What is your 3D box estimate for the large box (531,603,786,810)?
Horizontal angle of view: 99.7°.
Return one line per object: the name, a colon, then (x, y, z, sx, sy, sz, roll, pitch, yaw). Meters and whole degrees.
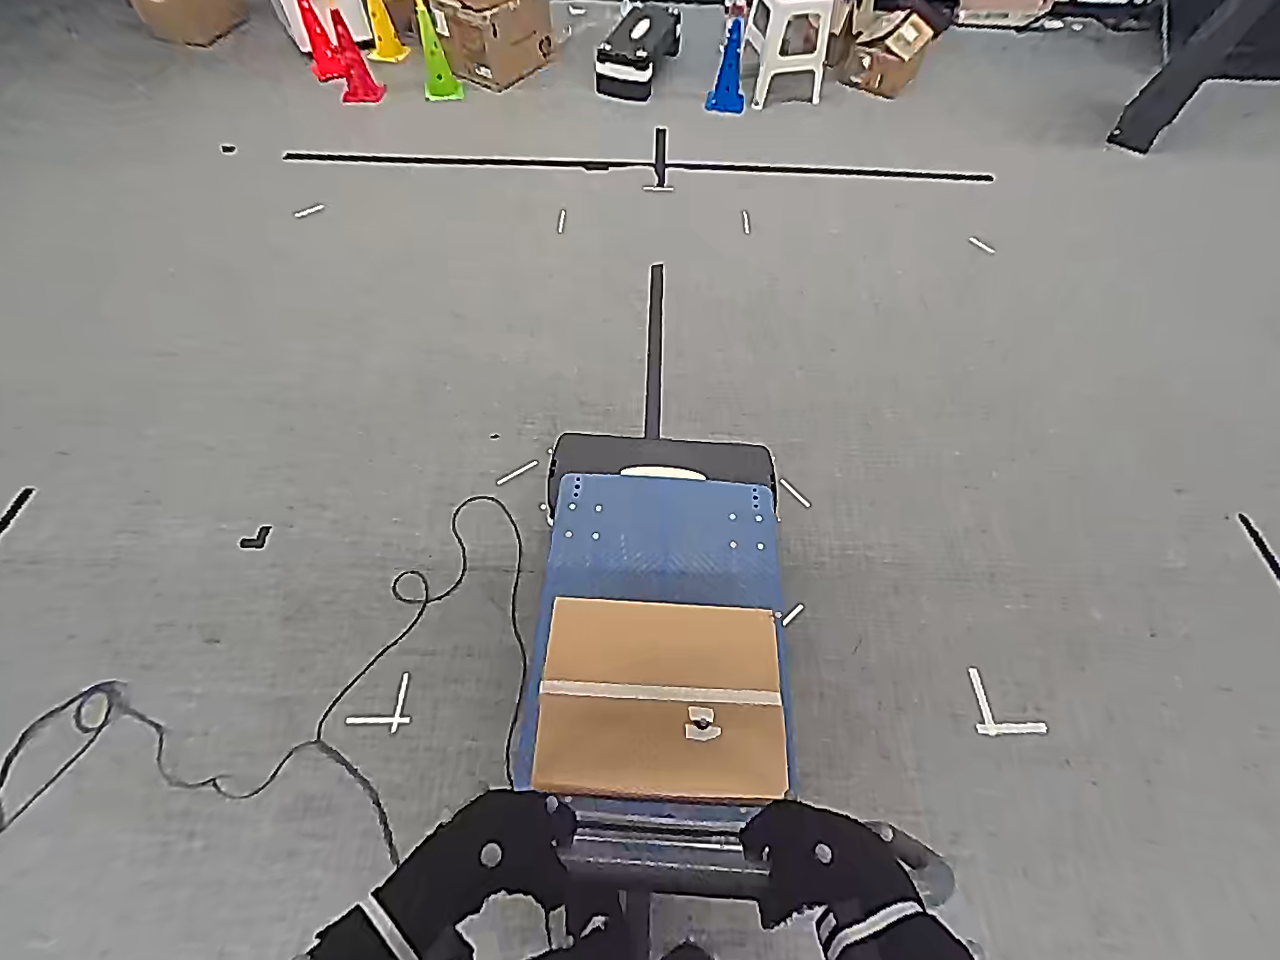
large box: (0.027, 0.442, 1.033, 0.408, 0.320, 0.320, 4, 59, -1)
